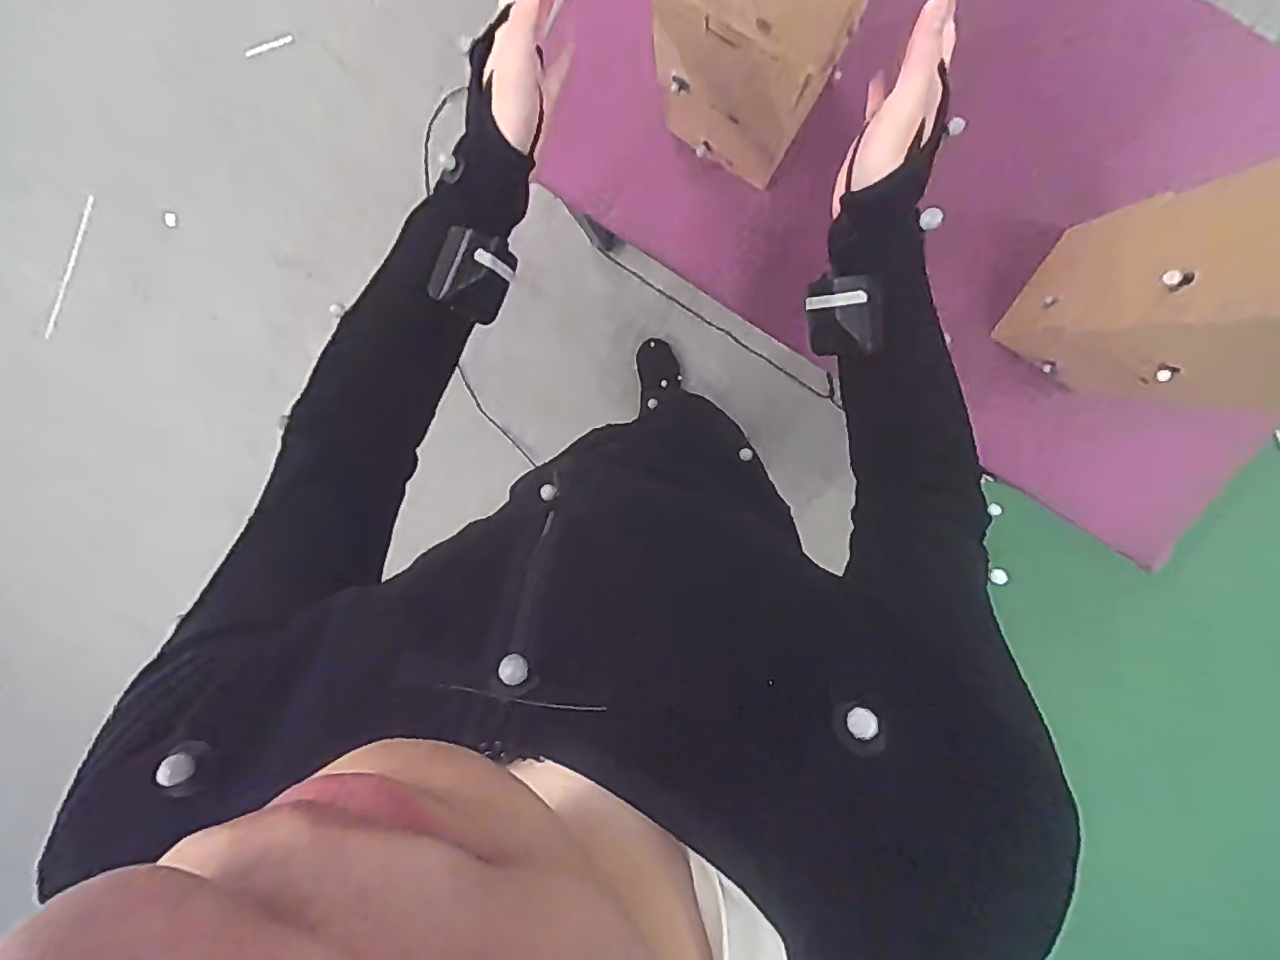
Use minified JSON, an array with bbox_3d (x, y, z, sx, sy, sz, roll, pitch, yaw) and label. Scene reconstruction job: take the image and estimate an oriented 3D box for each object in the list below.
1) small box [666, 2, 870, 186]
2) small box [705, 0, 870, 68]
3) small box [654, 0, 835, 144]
[{"bbox_3d":[0.144,-0.513,0.678,0.168,0.176,0.179,31,103,-3],"label":"small box"},{"bbox_3d":[0.121,-0.437,0.363,0.168,0.176,0.179,29,101,-2],"label":"small box"},{"bbox_3d":[0.127,-0.472,0.520,0.168,0.176,0.179,31,101,-3],"label":"small box"}]
